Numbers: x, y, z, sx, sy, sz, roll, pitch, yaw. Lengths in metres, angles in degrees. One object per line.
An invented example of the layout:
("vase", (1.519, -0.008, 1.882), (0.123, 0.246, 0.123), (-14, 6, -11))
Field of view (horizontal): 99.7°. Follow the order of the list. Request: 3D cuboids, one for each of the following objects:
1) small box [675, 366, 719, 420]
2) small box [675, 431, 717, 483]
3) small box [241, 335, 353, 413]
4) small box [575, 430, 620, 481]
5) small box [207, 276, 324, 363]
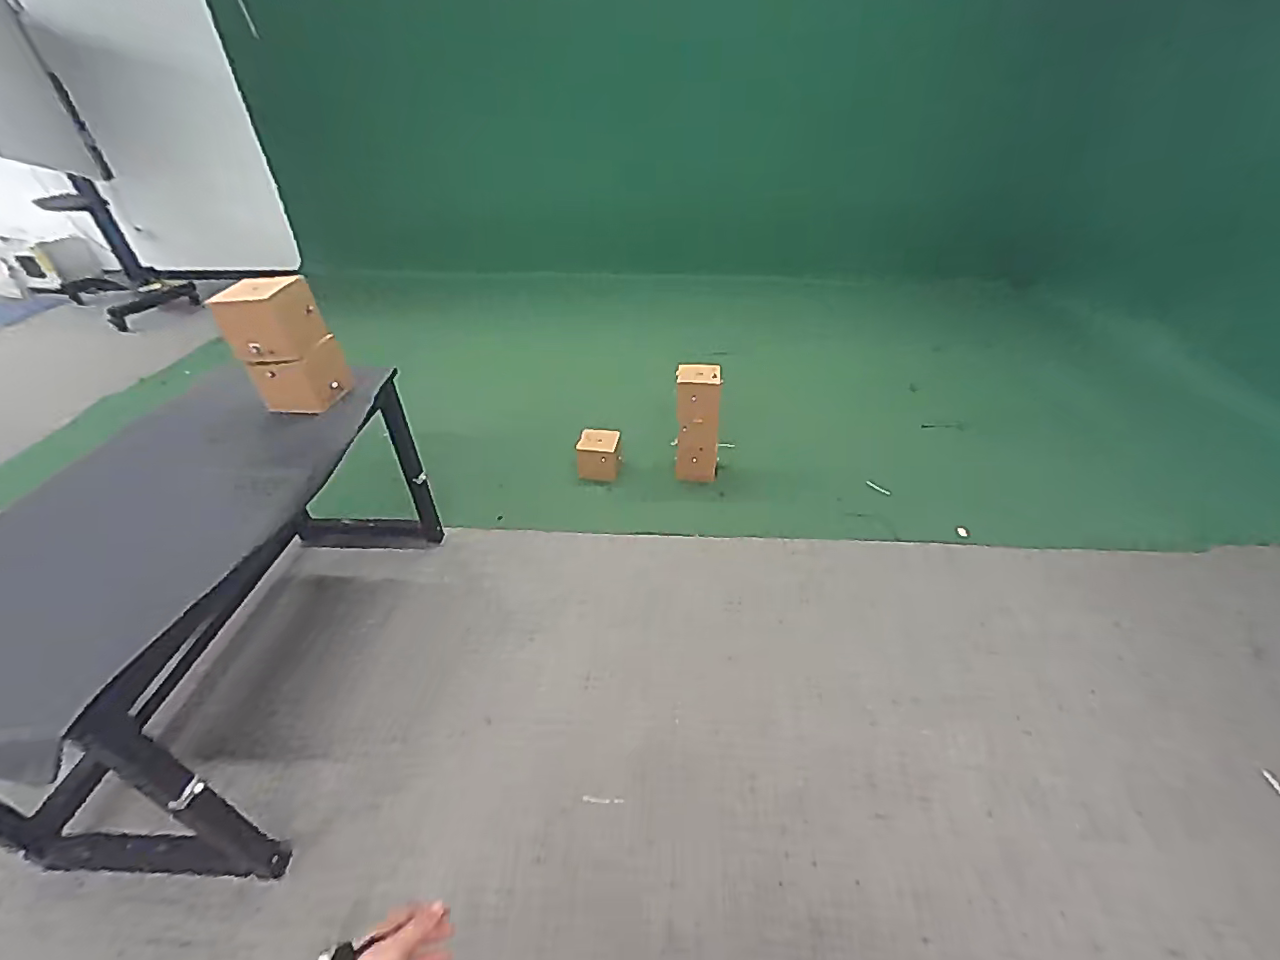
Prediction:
("small box", (0.239, -0.363, 2.256), (0.179, 0.176, 0.168), (2, 38, 5))
("small box", (0.254, -0.103, 2.456), (0.179, 0.176, 0.168), (4, 39, 6))
("small box", (-0.964, -0.302, 1.537), (0.179, 0.176, 0.168), (4, 39, 8))
("small box", (-0.189, -0.110, 2.469), (0.179, 0.176, 0.168), (5, 38, 8))
("small box", (-0.973, -0.423, 1.428), (0.168, 0.176, 0.179), (-3, 40, 3))
